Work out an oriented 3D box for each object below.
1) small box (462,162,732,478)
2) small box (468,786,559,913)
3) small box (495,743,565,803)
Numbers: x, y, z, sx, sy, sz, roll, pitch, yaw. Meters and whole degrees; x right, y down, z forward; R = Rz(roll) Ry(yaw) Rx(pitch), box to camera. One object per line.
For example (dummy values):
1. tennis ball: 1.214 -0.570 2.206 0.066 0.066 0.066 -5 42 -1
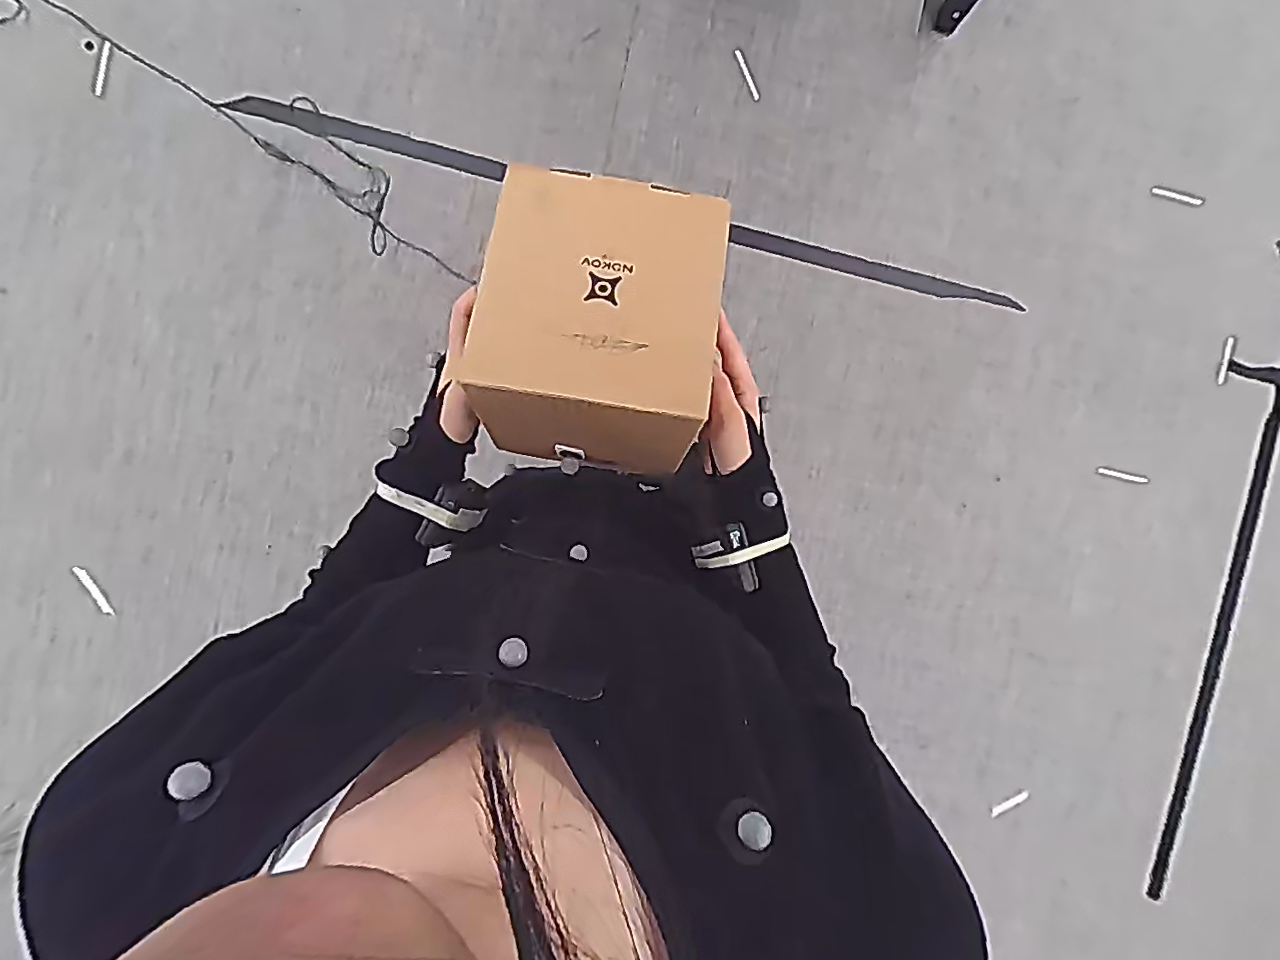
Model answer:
1. small box: -0.030 -0.114 0.447 0.168 0.176 0.179 8 76 -3
2. small box: -0.286 0.850 1.260 0.168 0.176 0.179 11 93 -4
3. small box: -0.298 0.832 1.423 0.168 0.176 0.179 15 91 -5
